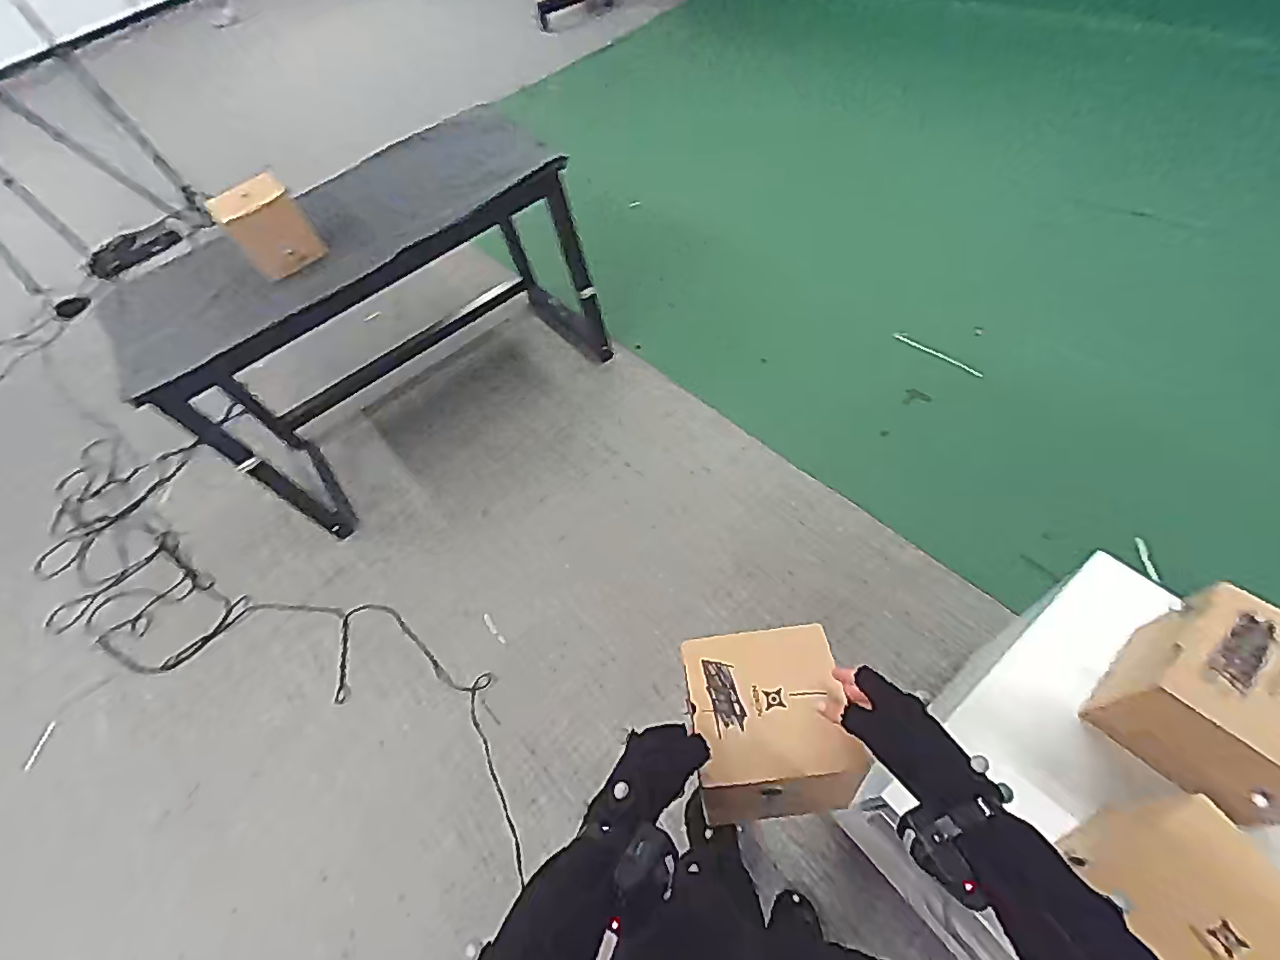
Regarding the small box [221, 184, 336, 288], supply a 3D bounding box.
[{"bbox_3d":[-0.940,-0.634,1.414,0.168,0.176,0.179,-37,57,-13],"label":"small box"}]
